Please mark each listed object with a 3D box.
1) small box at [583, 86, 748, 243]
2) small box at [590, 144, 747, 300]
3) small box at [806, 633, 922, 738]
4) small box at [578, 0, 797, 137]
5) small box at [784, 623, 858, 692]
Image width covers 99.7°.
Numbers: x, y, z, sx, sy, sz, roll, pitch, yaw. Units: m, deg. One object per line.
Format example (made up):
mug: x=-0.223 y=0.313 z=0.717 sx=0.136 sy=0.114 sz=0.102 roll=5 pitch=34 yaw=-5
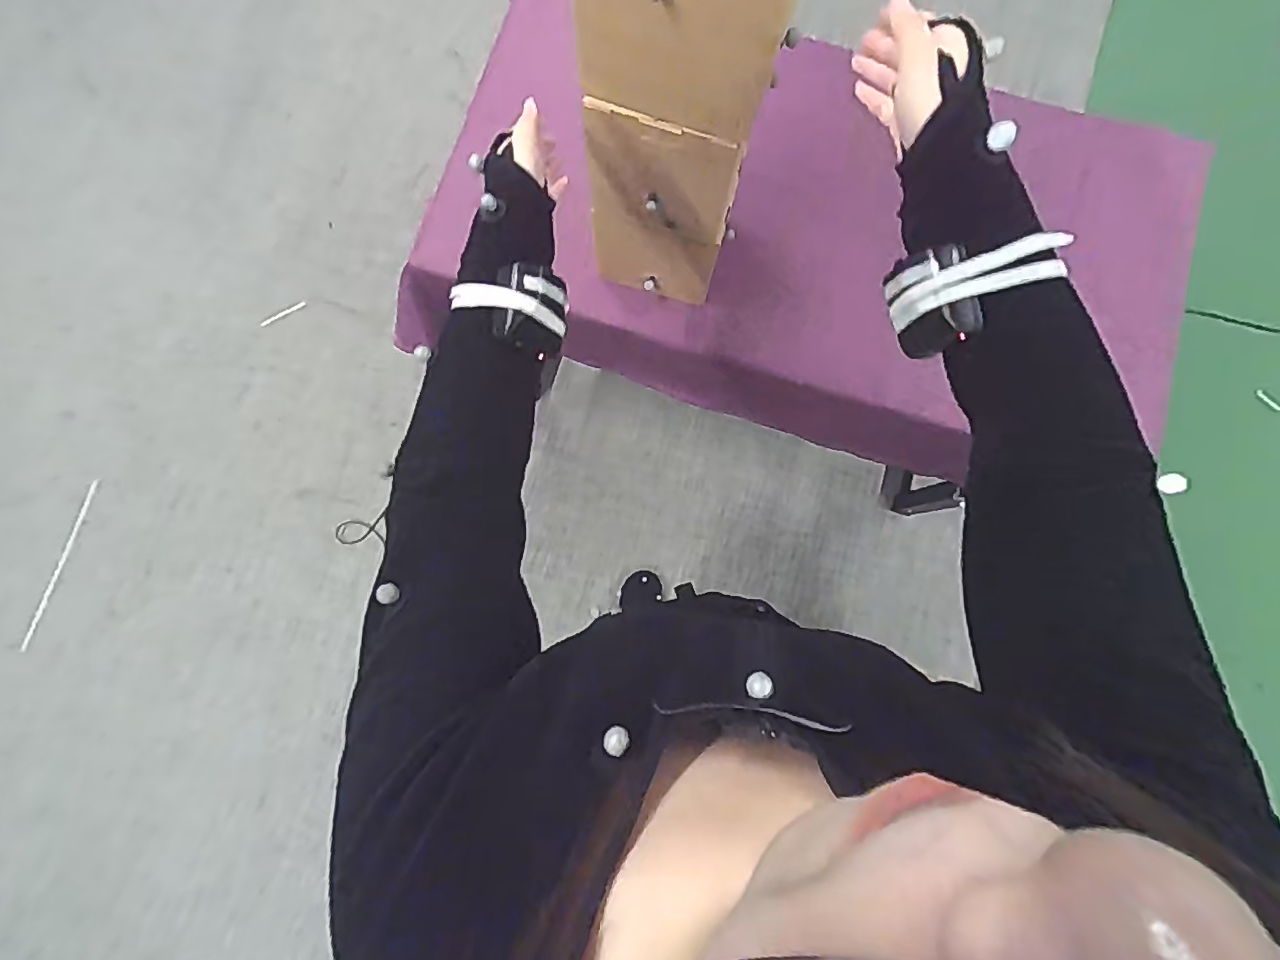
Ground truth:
small box: x=0.041 y=-0.418 z=0.629 sx=0.168 sy=0.176 sz=0.179 roll=17 pitch=82 yaw=2
small box: x=0.036 y=-0.388 z=0.792 sx=0.179 sy=0.176 sz=0.168 roll=16 pitch=81 yaw=1
small box: x=0.506 y=0.462 z=1.246 sx=0.179 sy=0.176 sz=0.168 roll=18 pitch=83 yaw=1
small box: x=0.049 y=-0.442 z=0.466 sx=0.179 sy=0.176 sz=0.168 roll=19 pitch=81 yaw=1
small box: x=0.496 y=0.482 z=1.408 sx=0.179 sy=0.176 sz=0.168 roll=21 pitch=82 yaw=1
